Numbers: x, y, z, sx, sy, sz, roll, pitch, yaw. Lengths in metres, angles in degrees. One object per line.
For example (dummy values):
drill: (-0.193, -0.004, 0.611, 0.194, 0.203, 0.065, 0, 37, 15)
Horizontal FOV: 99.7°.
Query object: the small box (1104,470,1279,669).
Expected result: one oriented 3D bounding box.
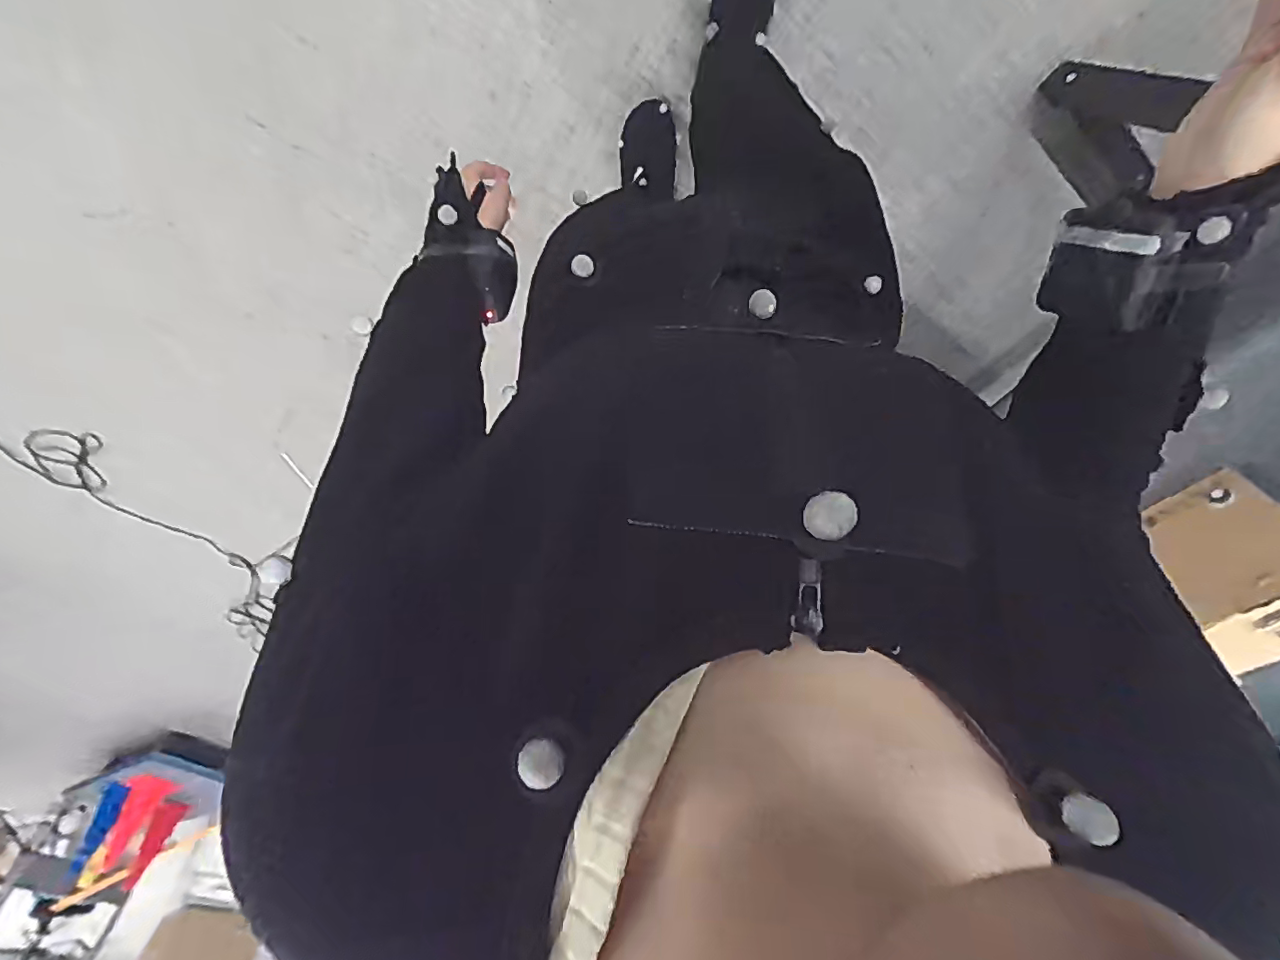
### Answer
small box: (0.766, 0.113, 0.704, 0.179, 0.176, 0.168, 29, 125, -26)
